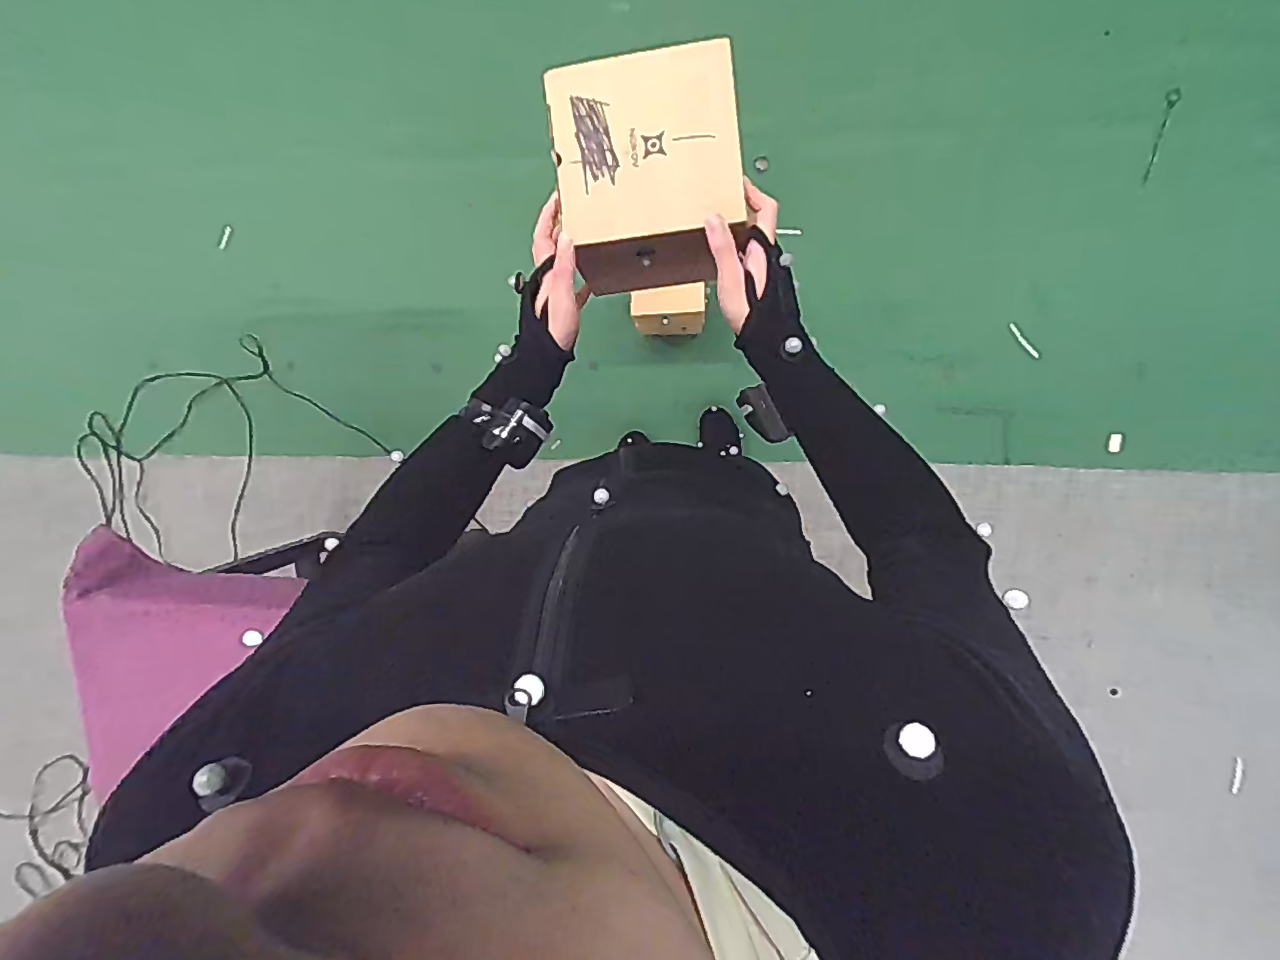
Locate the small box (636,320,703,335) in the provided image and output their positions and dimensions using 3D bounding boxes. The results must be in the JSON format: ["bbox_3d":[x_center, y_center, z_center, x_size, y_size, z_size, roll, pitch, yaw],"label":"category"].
[{"bbox_3d":[0.086,-0.493,1.483,0.179,0.176,0.168,1,97,7],"label":"small box"}]

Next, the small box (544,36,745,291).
[{"bbox_3d":[0.011,-0.314,0.577,0.179,0.176,0.168,-6,93,5],"label":"small box"}]

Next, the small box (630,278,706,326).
[{"bbox_3d":[0.073,-0.475,1.322,0.179,0.176,0.168,-1,97,8],"label":"small box"}]
